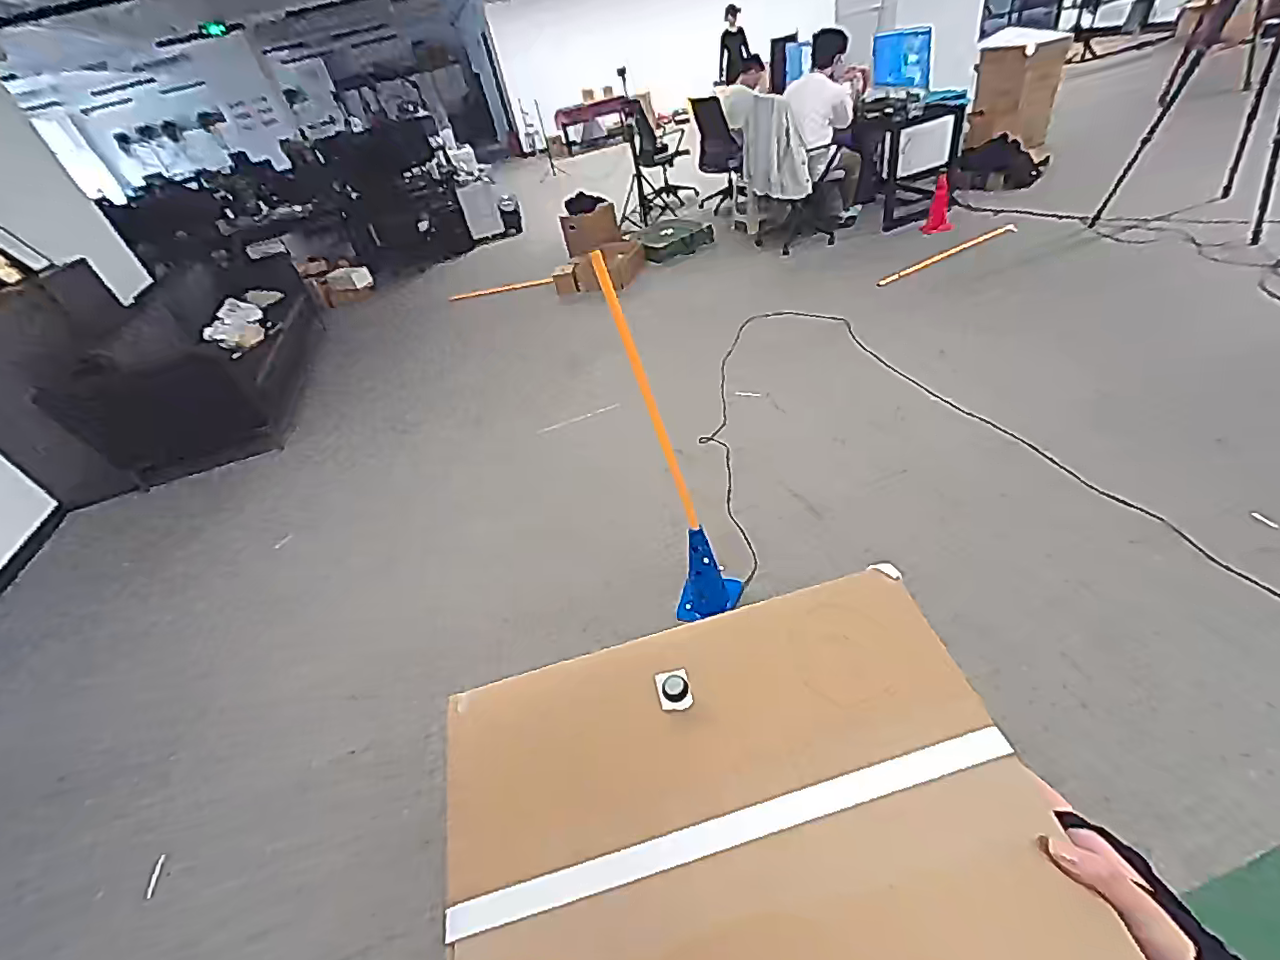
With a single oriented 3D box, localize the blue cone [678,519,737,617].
[{"bbox_3d":[0.198,0.266,1.750,0.192,0.380,0.193,1,42,19],"label":"blue cone"}]
